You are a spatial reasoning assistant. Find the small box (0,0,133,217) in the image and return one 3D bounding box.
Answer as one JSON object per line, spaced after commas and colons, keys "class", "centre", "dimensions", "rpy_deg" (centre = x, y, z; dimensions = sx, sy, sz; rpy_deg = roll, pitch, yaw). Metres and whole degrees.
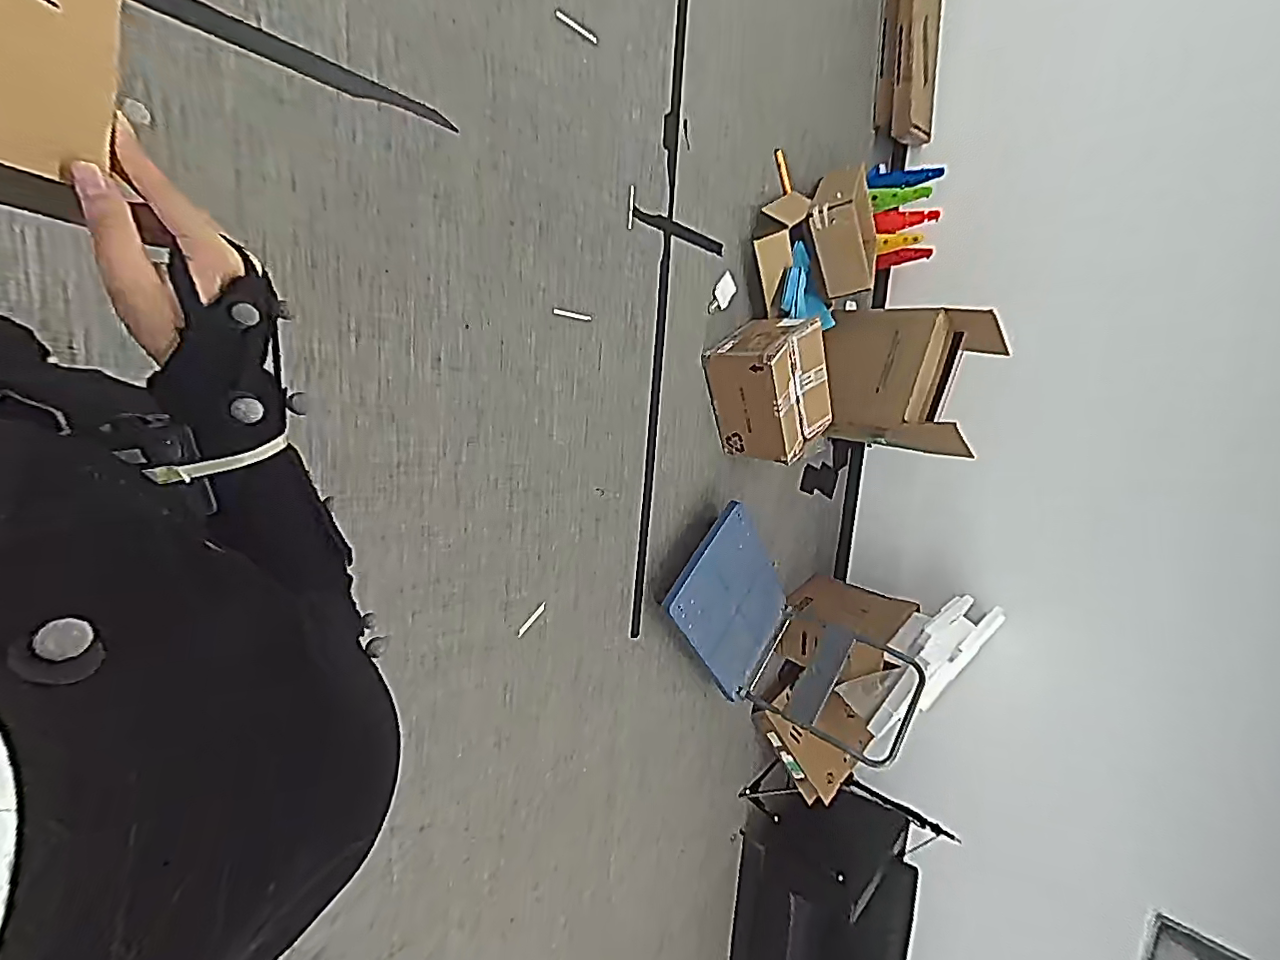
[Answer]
{"class": "small box", "centre": [-0.375, -0.248, 0.265], "dimensions": [0.179, 0.176, 0.168], "rpy_deg": [4, 99, -47]}
